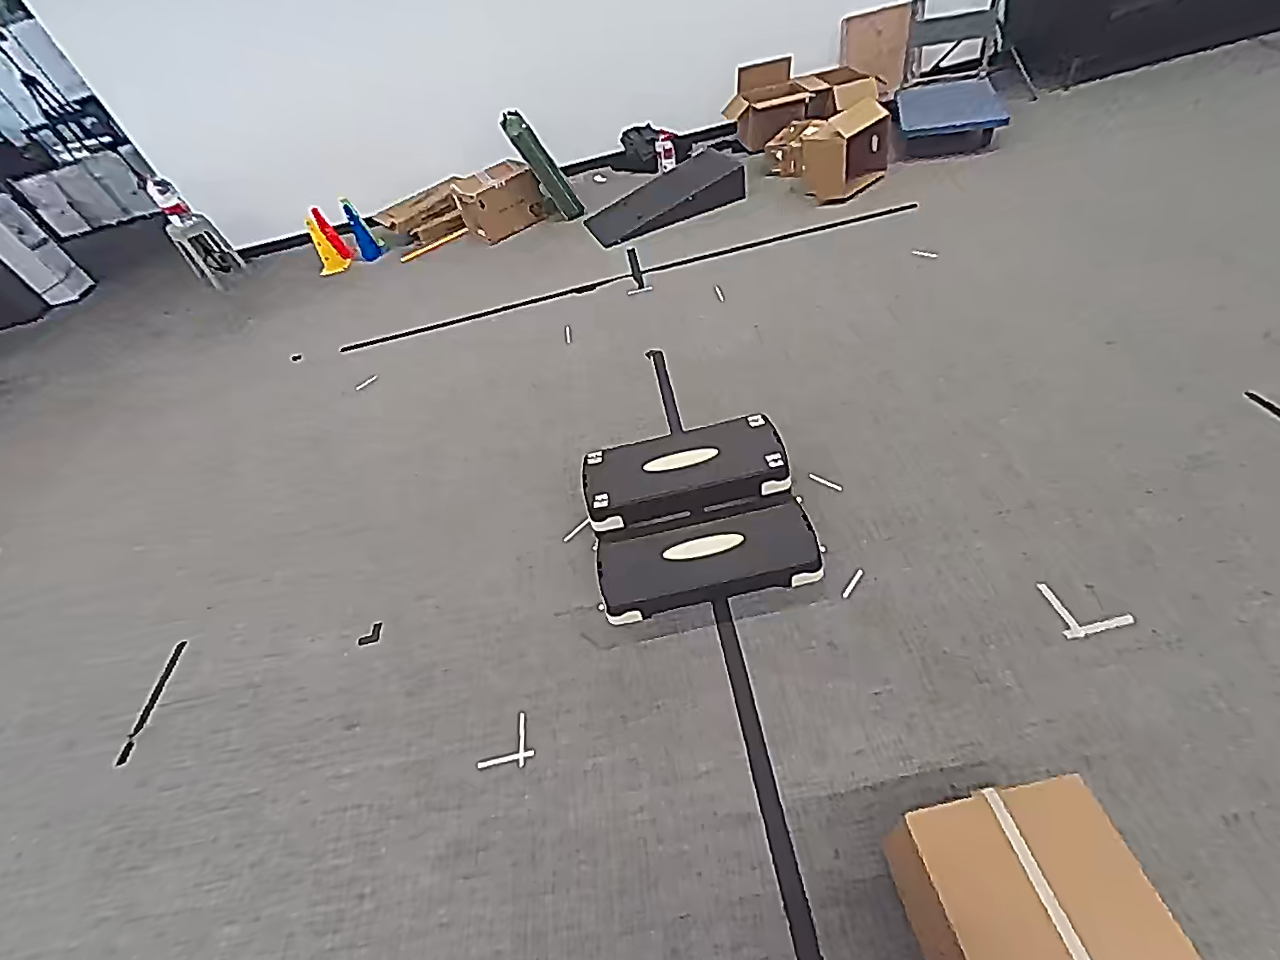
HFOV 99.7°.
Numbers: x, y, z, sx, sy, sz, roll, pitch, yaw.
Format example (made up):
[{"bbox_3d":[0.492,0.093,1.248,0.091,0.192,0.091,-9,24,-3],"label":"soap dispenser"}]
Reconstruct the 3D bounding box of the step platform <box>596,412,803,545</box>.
[{"bbox_3d":[0.192,-0.010,1.843,0.684,0.204,0.286,-14,47,1],"label":"step platform"}]

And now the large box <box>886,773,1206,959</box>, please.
[{"bbox_3d":[0.677,0.781,0.916,0.320,0.320,0.408,-15,47,2],"label":"large box"}]
